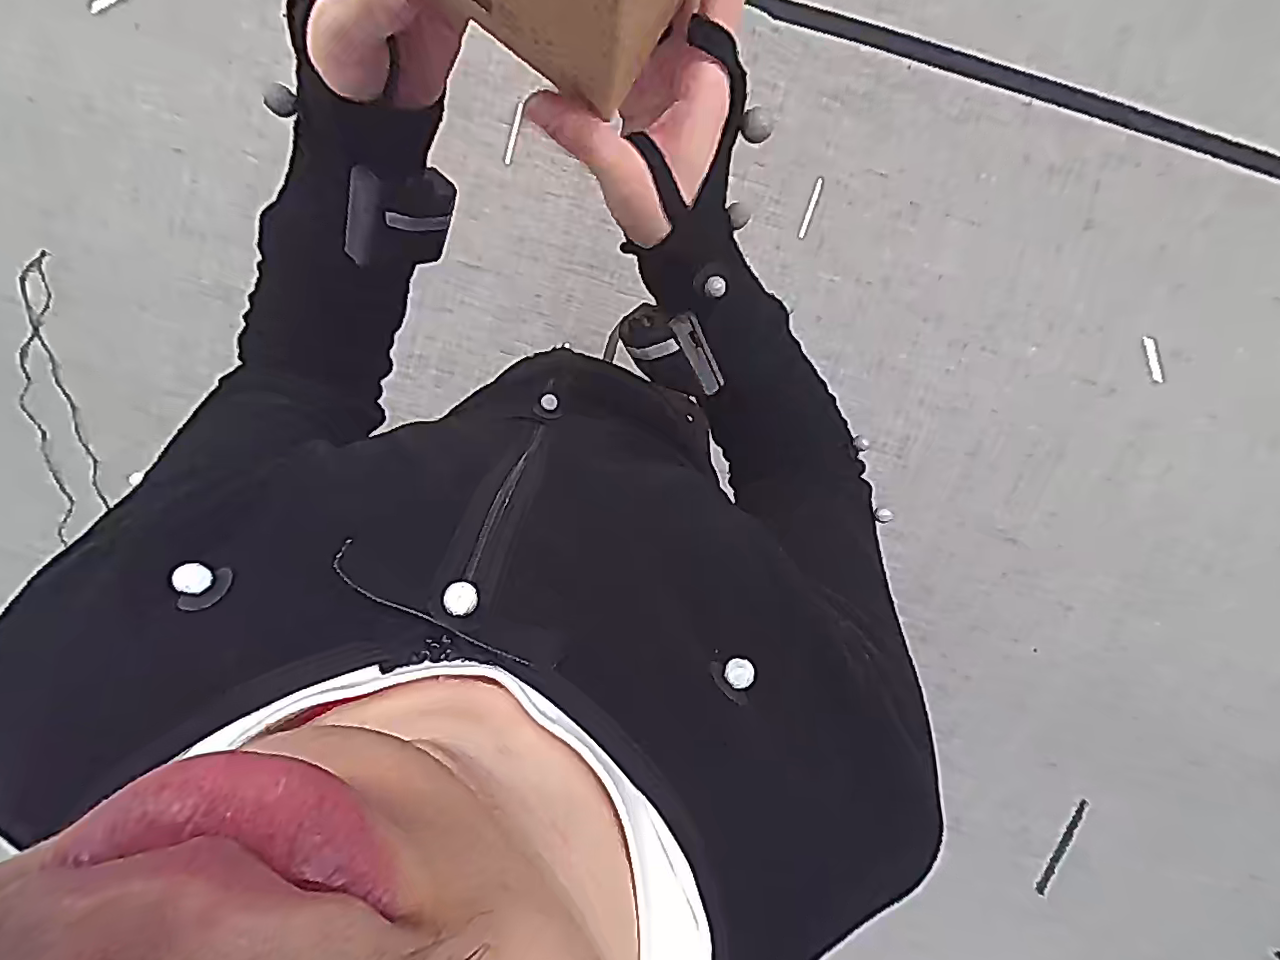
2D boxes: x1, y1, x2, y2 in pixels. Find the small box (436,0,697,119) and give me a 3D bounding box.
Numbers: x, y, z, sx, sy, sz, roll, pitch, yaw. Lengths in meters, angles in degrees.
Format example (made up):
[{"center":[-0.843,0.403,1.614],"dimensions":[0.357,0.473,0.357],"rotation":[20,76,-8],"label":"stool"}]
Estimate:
[{"center":[-0.023,-0.259,0.150],"dimensions":[0.168,0.176,0.179],"rotation":[31,96,-12],"label":"small box"}]
